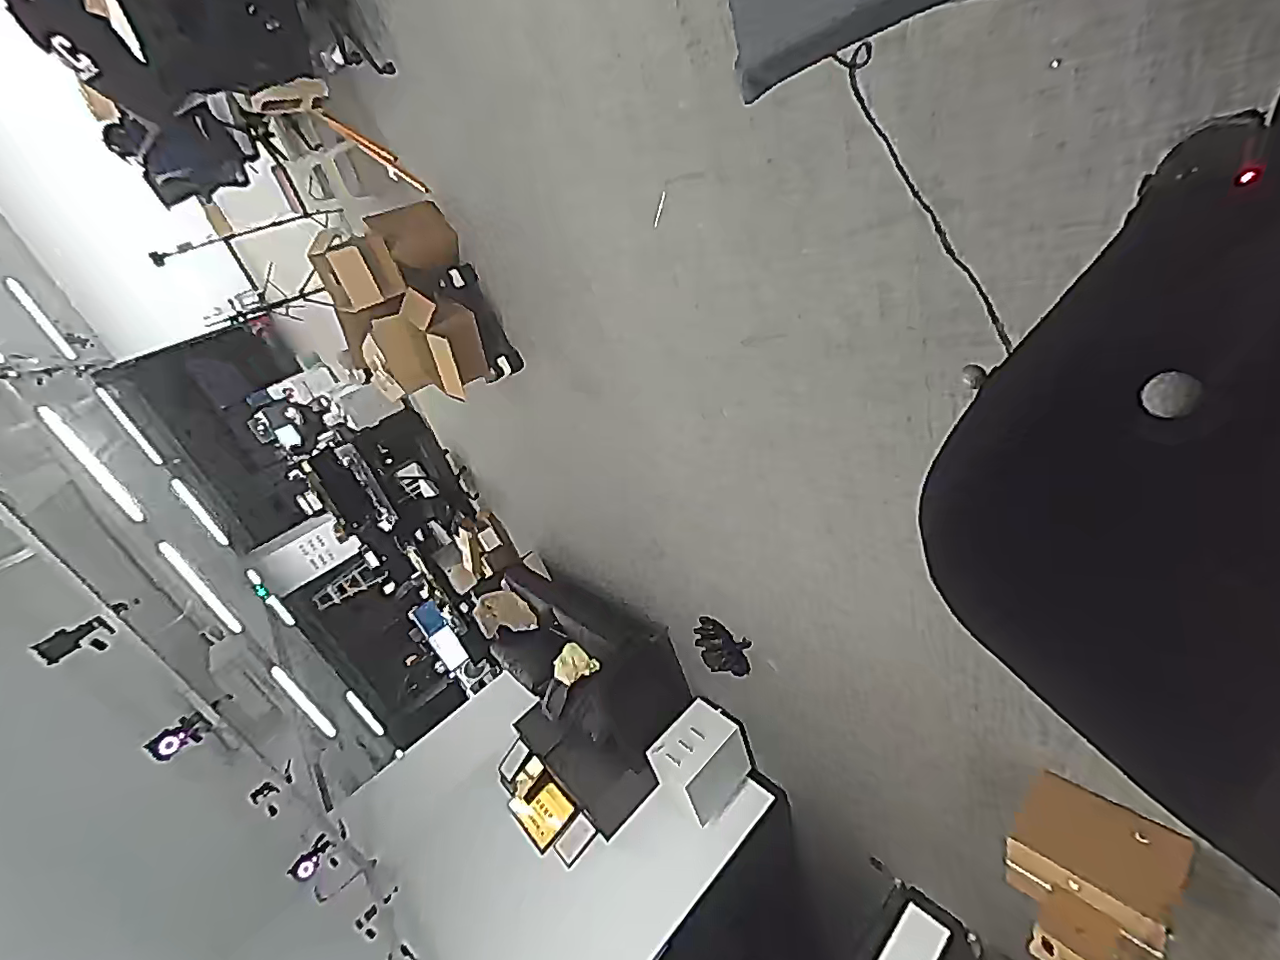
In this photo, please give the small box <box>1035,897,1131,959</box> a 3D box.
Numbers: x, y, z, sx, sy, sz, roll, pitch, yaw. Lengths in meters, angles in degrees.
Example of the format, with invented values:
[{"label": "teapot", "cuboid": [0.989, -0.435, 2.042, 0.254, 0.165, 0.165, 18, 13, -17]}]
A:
[{"label": "small box", "cuboid": [1.368, 1.444, 1.671, 0.179, 0.176, 0.168, 22, 134, 45]}]
